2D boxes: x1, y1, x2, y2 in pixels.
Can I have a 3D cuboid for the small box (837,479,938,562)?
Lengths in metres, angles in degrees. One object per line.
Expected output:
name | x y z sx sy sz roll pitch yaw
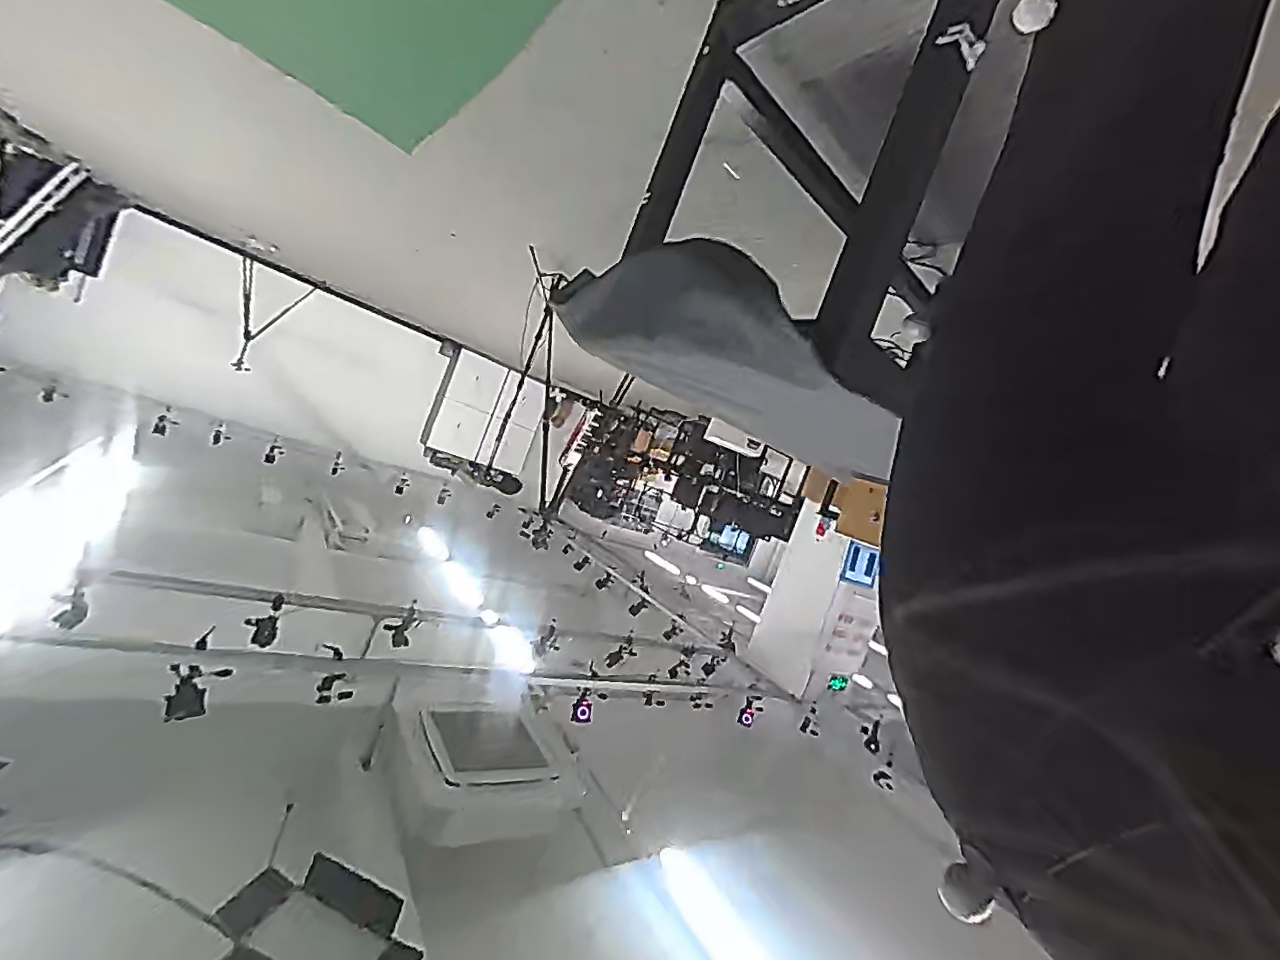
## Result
small box | 0.681 0.107 1.486 0.179 0.176 0.168 19 -179 -36
